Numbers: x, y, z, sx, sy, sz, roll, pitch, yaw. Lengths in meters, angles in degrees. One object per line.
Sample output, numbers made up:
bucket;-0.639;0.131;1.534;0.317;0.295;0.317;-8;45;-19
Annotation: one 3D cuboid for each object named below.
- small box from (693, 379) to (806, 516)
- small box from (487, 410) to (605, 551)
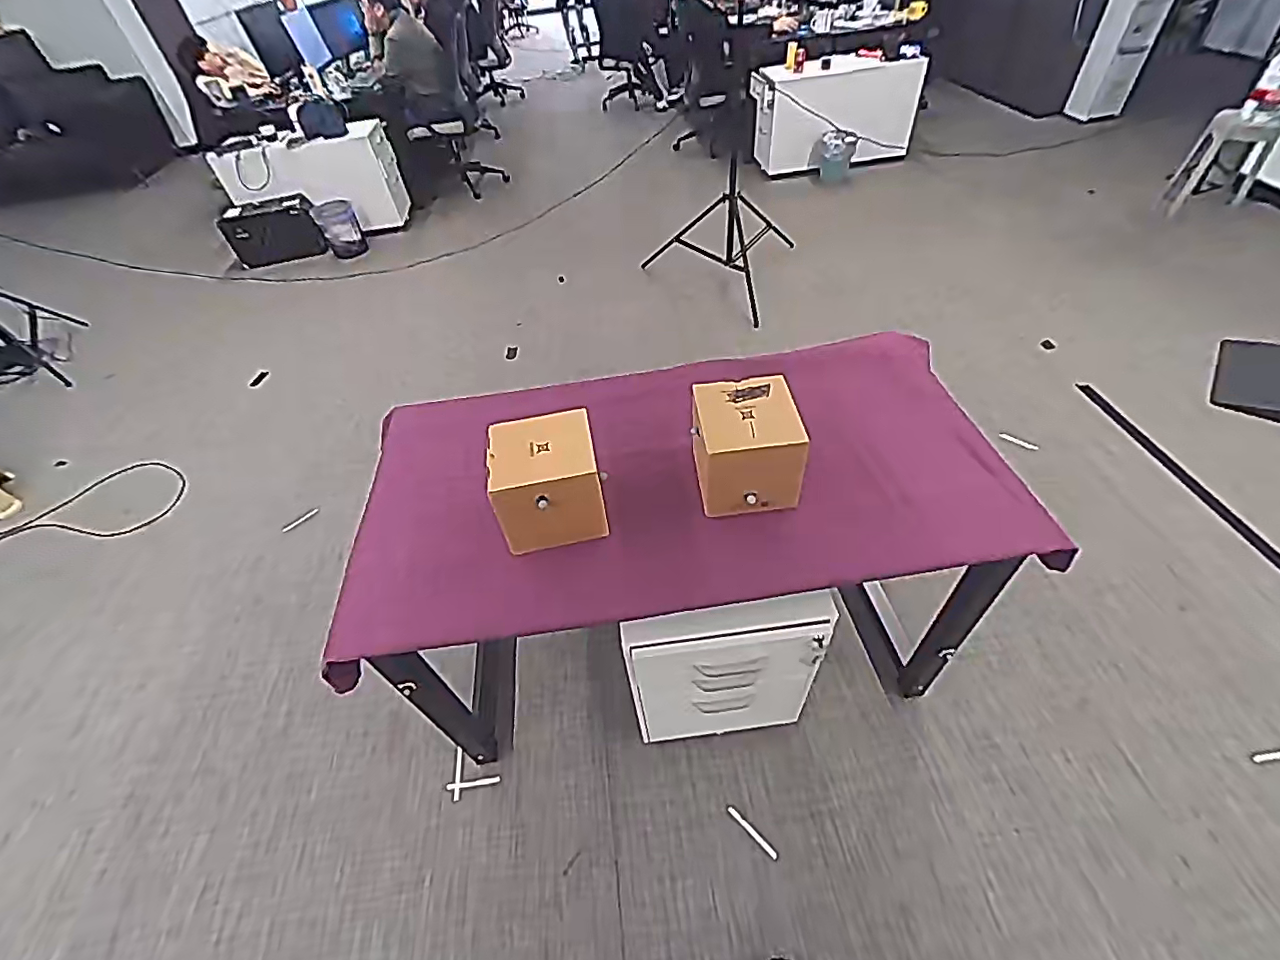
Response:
small box;0.185;-0.058;0.974;0.168;0.176;0.179;-6;48;1
small box;-0.161;0.003;0.960;0.179;0.176;0.168;-11;47;-3
